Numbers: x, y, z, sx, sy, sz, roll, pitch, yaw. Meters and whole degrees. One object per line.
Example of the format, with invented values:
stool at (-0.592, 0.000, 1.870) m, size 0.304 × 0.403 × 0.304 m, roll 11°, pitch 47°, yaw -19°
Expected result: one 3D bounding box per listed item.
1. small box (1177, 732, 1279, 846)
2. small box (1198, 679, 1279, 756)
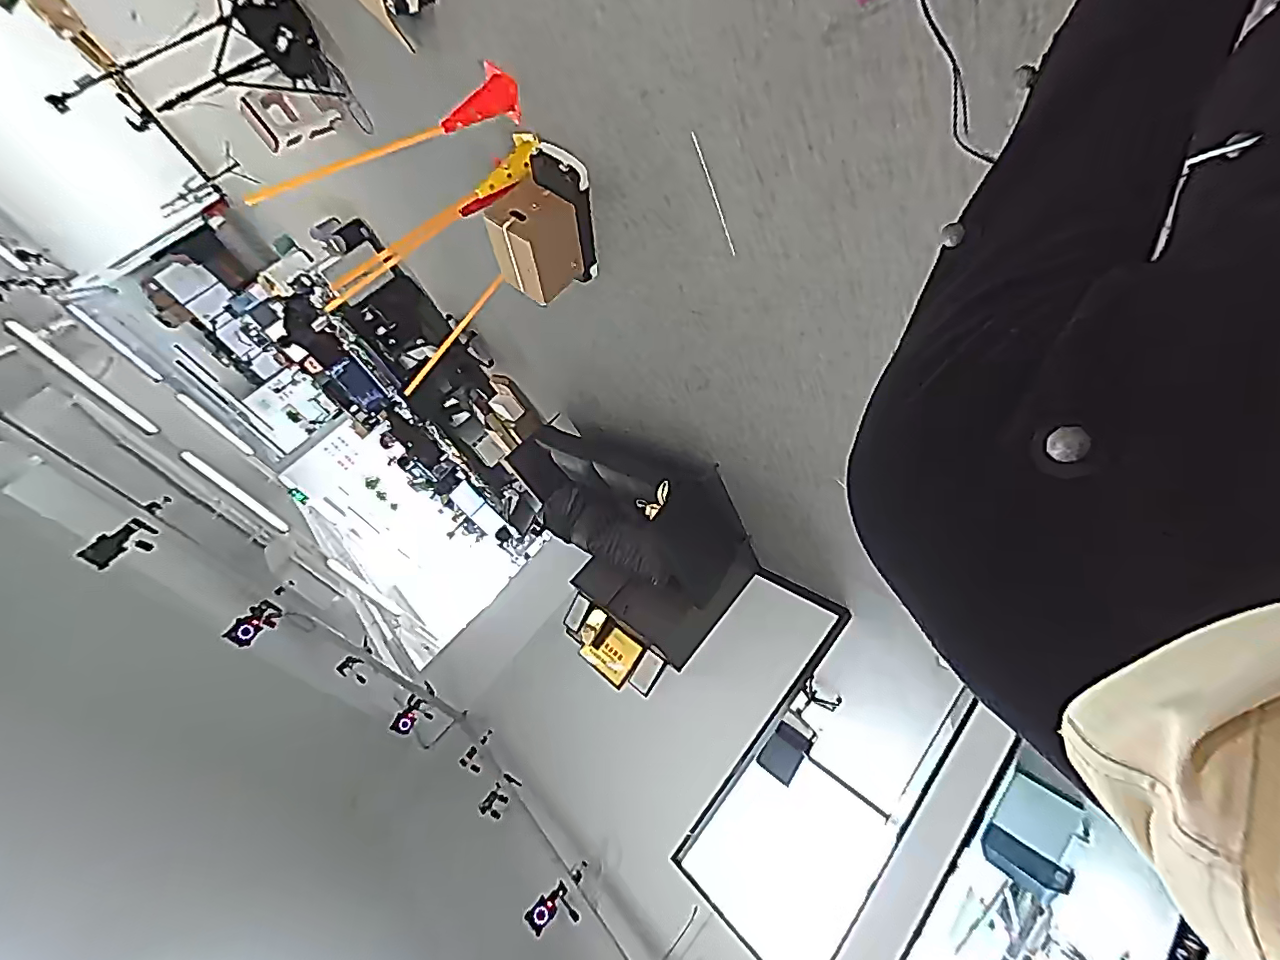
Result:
small box at (1.532, 0.775, 1.378) m, size 0.179 × 0.176 × 0.168 m, roll 24°, pitch 153°, yaw 48°
small box at (1.642, 0.663, 1.428) m, size 0.179 × 0.176 × 0.168 m, roll 26°, pitch 155°, yaw 47°
